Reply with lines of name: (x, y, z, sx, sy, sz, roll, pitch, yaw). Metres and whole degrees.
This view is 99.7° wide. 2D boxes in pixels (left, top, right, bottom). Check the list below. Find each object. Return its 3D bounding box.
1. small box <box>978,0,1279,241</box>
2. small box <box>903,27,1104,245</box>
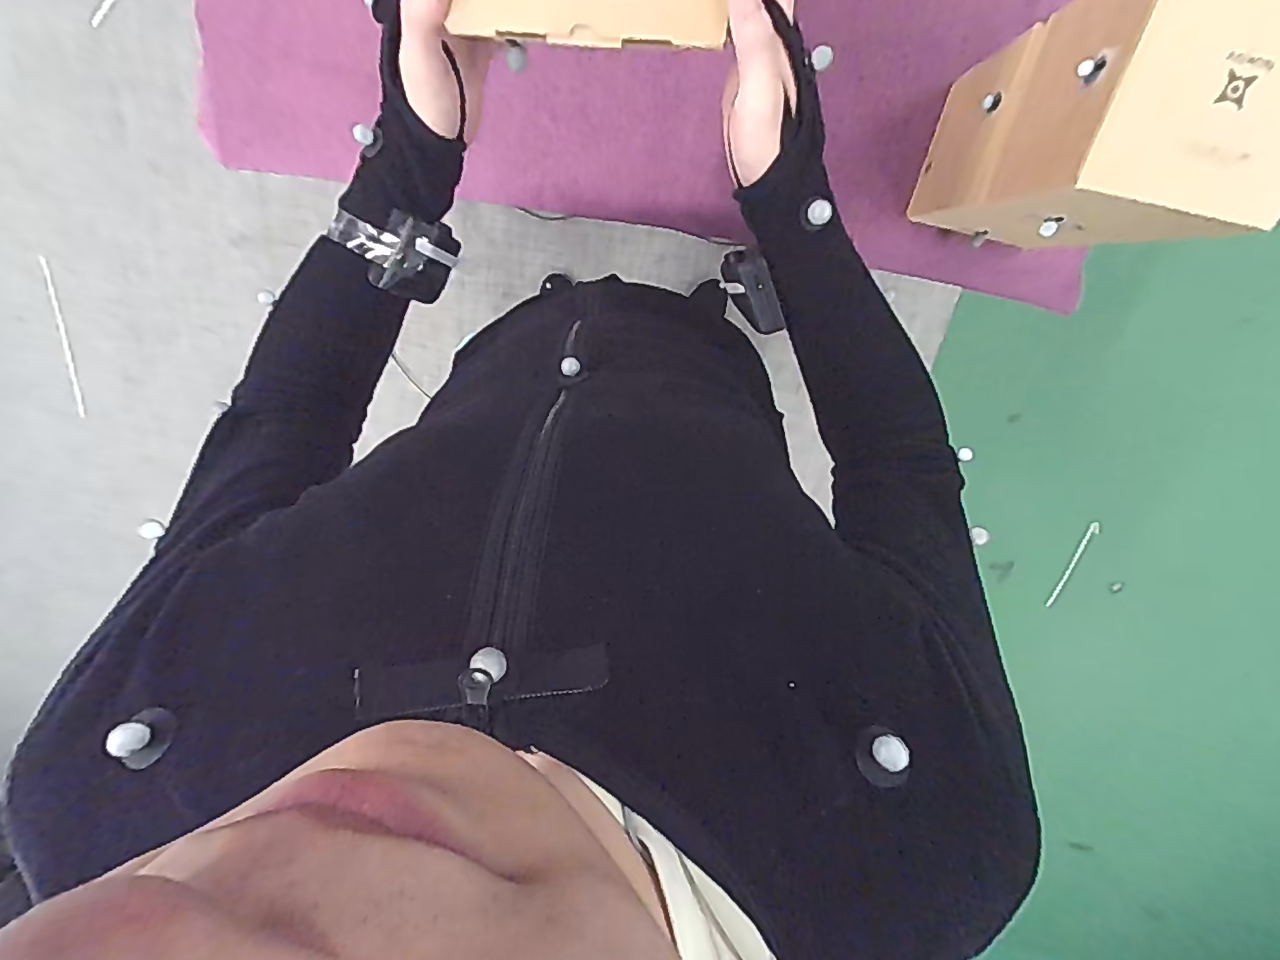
small box: (0.448, -0.328, 0.485, 0.168, 0.176, 0.179, 13, 111, 0)
small box: (0.453, -0.383, 0.639, 0.179, 0.176, 0.168, 13, 110, -2)
